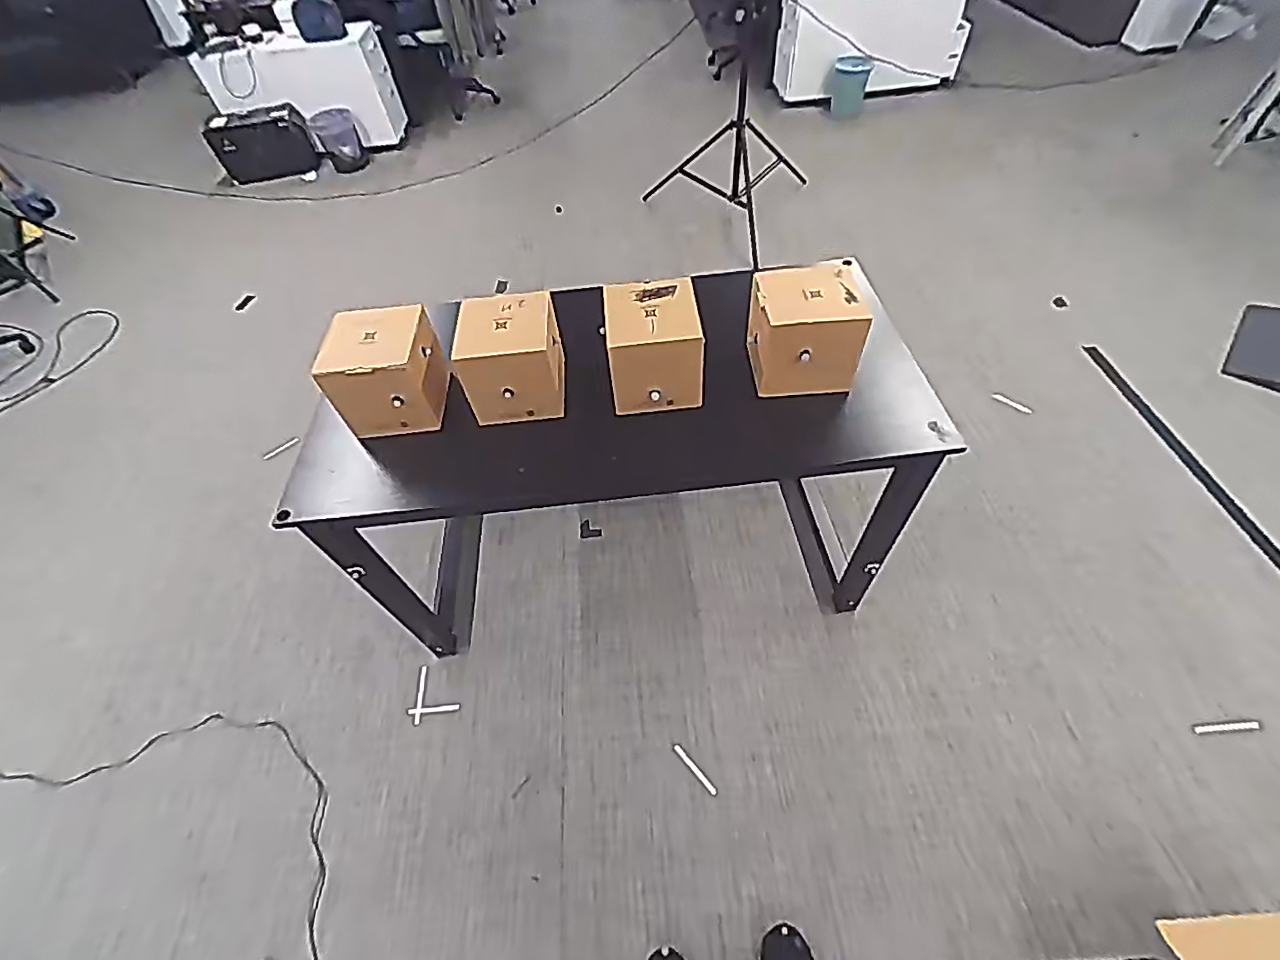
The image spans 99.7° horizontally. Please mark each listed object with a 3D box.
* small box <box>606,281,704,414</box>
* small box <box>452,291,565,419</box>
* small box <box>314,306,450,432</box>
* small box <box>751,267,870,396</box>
[{"bbox_3d":[0.026,-0.248,1.020,0.168,0.176,0.179,-6,53,1],"label":"small box"},{"bbox_3d":[-0.239,-0.229,1.028,0.168,0.176,0.179,-5,53,0],"label":"small box"},{"bbox_3d":[-0.477,-0.204,1.032,0.168,0.176,0.179,-6,52,-1],"label":"small box"},{"bbox_3d":[0.306,-0.274,1.015,0.179,0.176,0.168,-4,53,3],"label":"small box"}]
